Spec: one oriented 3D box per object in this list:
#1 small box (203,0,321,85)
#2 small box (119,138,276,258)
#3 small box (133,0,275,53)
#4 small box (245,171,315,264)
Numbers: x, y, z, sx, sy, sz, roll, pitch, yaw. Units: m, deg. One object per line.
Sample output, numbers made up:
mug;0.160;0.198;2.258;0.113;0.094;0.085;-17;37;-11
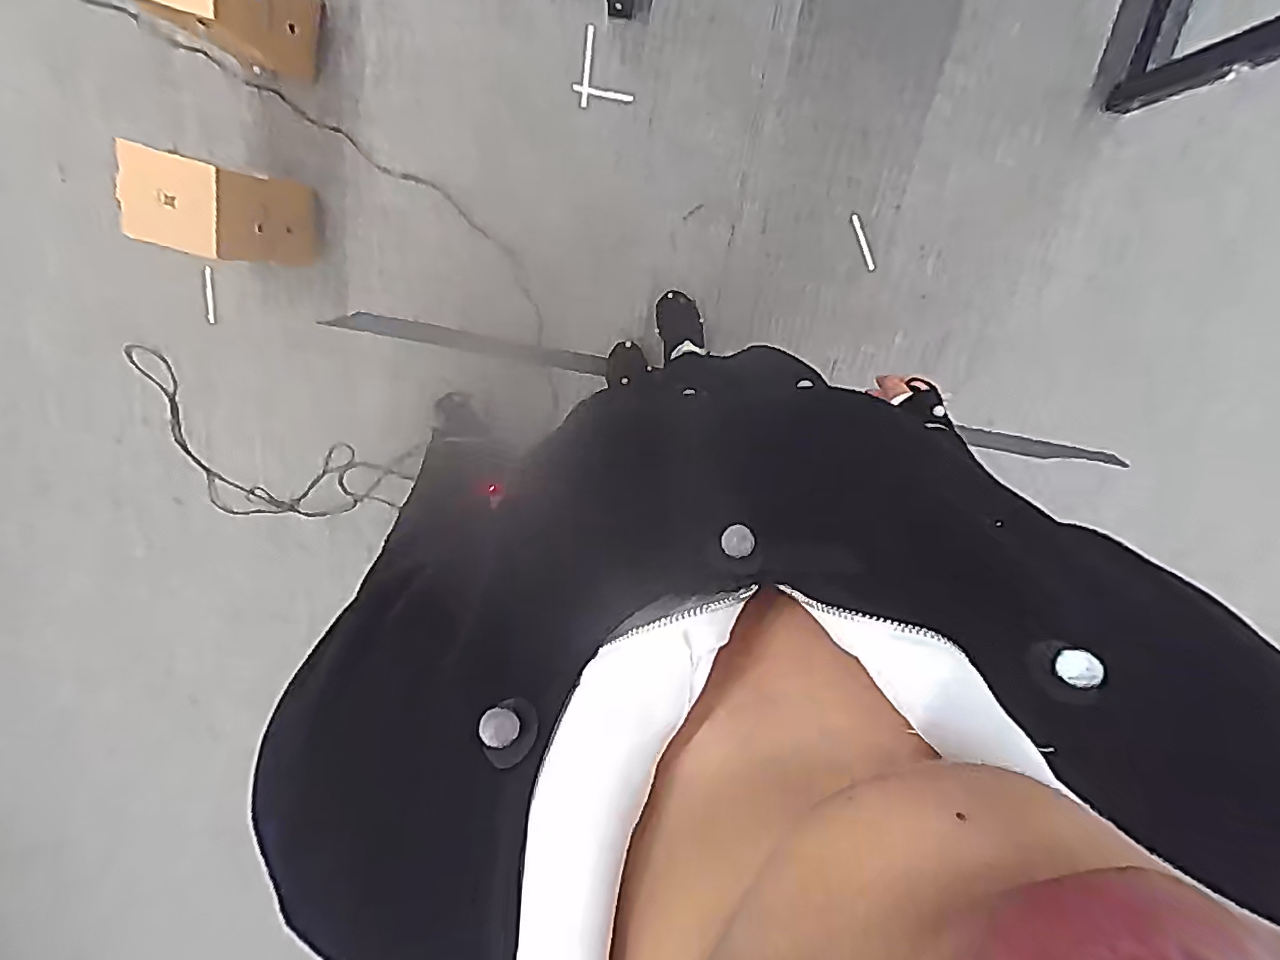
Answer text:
small box;-0.780;-0.953;1.098;0.168;0.176;0.179;17;109;-6
small box;-0.866;-0.546;1.073;0.179;0.176;0.168;13;110;-6
small box;-0.770;-0.890;0.945;0.179;0.176;0.168;14;108;-5
small box;-0.865;-0.597;1.228;0.168;0.176;0.179;9;110;-4
